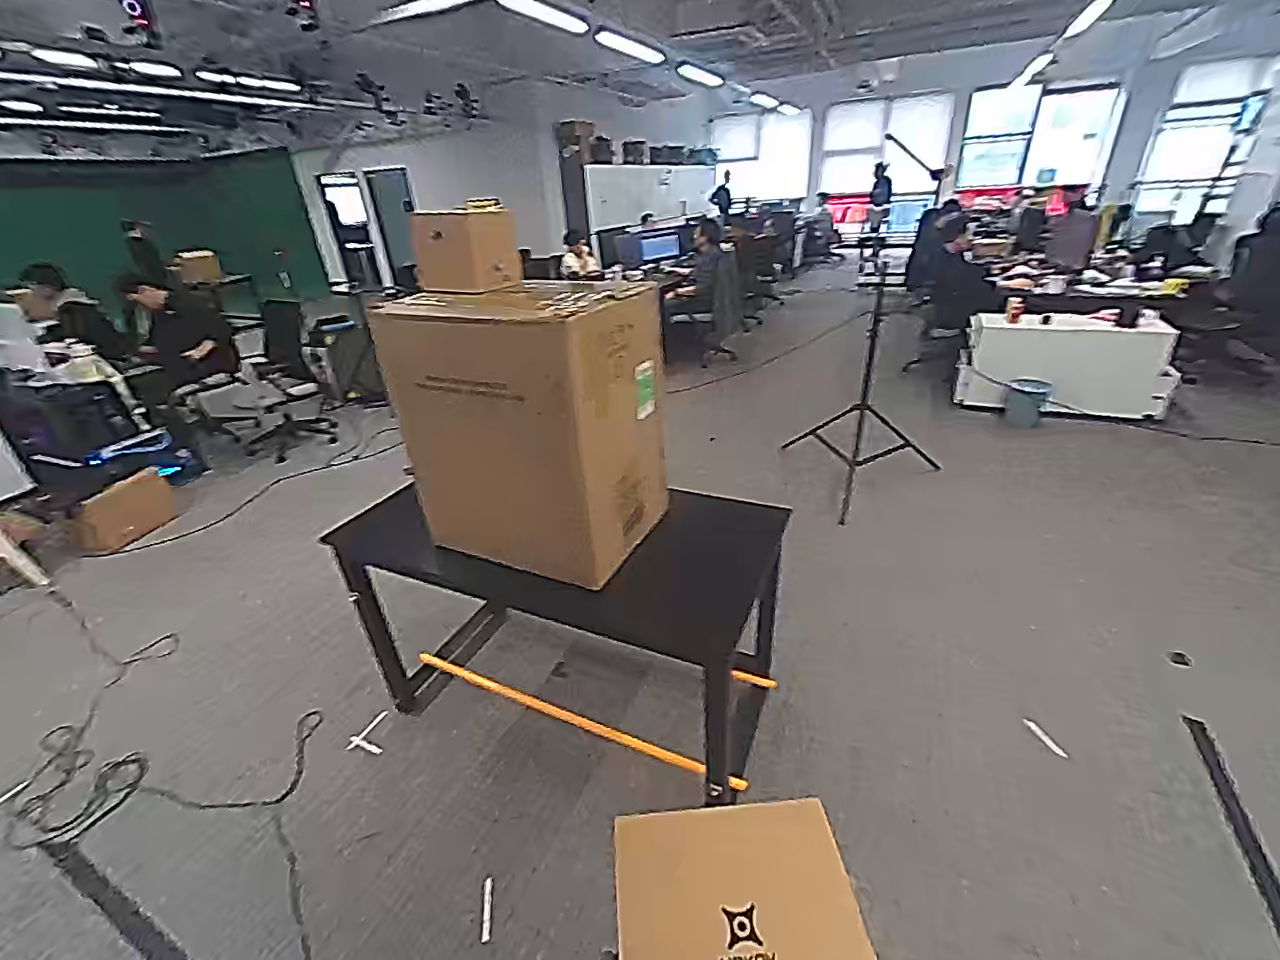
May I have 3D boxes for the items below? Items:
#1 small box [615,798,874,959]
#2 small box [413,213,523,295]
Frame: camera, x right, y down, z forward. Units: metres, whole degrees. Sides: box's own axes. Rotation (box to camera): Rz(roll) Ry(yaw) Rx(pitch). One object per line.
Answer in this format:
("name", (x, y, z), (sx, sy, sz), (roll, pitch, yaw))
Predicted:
("small box", (0.068, 0.370, 0.393), (0.168, 0.176, 0.179), (-5, 30, -3))
("small box", (-0.400, -0.538, 1.284), (0.179, 0.176, 0.168), (12, 30, 24))
